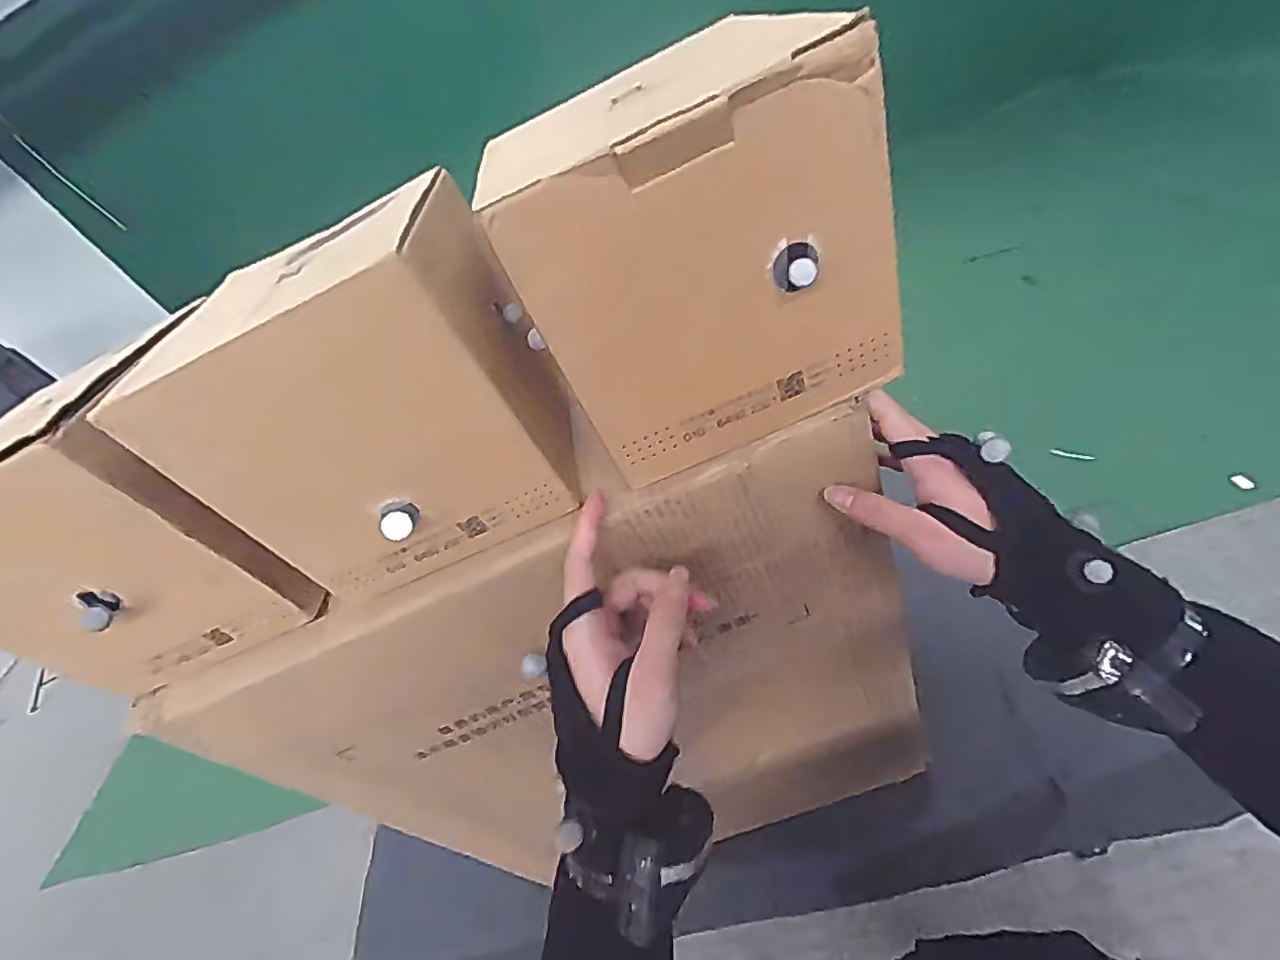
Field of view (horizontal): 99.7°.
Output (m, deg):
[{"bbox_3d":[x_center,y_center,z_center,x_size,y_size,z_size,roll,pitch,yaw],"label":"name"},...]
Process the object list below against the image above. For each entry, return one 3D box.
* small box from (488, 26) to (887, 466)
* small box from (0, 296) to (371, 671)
[{"bbox_3d":[0.028,-0.129,0.321,0.168,0.176,0.179,-21,40,5],"label":"small box"},{"bbox_3d":[-0.323,0.011,0.379,0.168,0.176,0.179,-23,41,9],"label":"small box"}]
